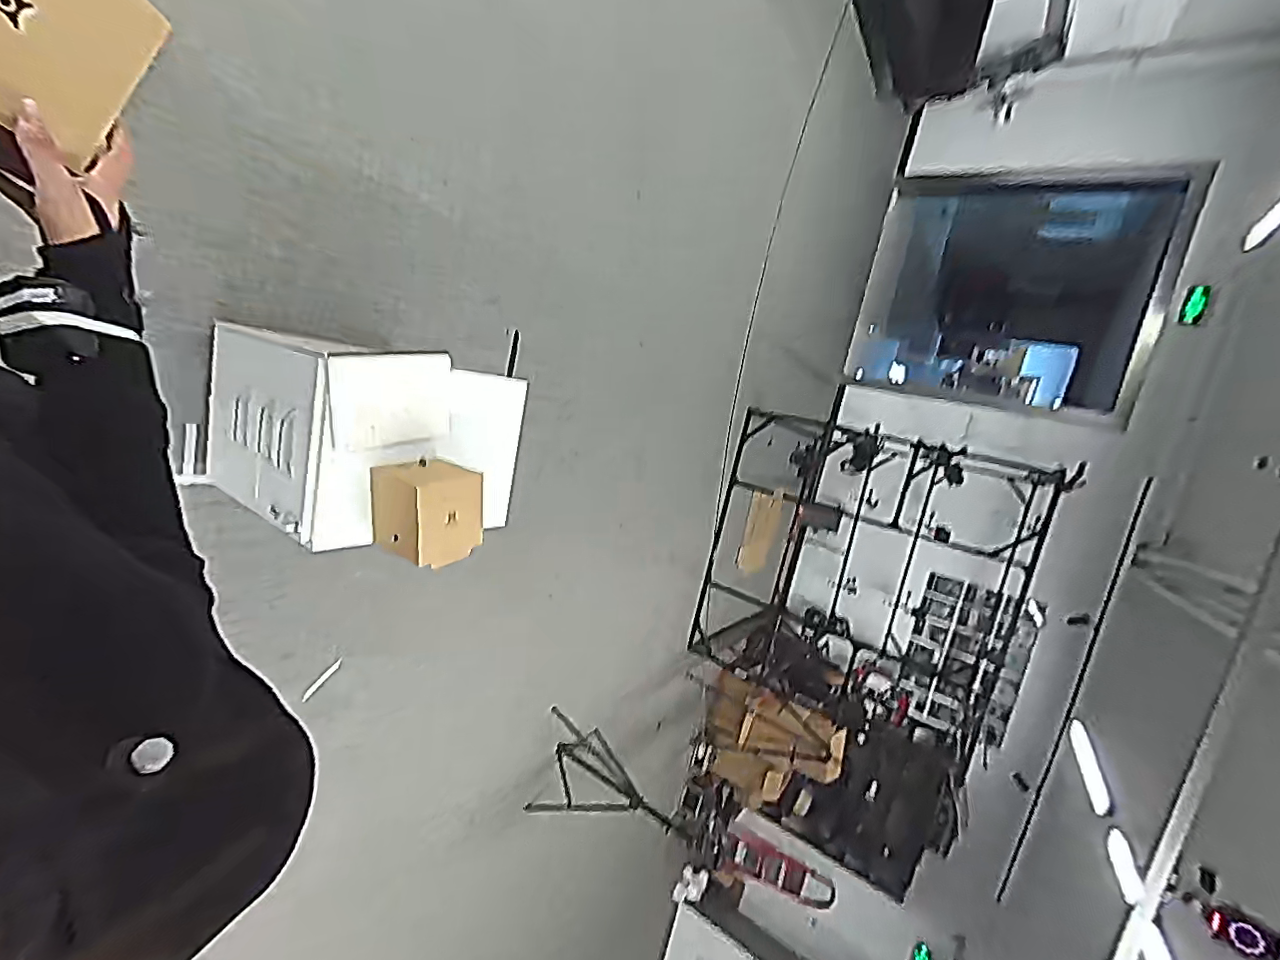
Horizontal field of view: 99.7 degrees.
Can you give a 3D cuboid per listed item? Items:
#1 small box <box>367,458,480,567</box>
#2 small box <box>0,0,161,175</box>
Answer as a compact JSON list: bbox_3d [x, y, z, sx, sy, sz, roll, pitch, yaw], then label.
[{"bbox_3d":[-0.472,0.062,1.178,0.168,0.176,0.179,-18,119,-54],"label":"small box"},{"bbox_3d":[-0.550,-0.373,0.421,0.179,0.176,0.168,40,66,-63],"label":"small box"}]
